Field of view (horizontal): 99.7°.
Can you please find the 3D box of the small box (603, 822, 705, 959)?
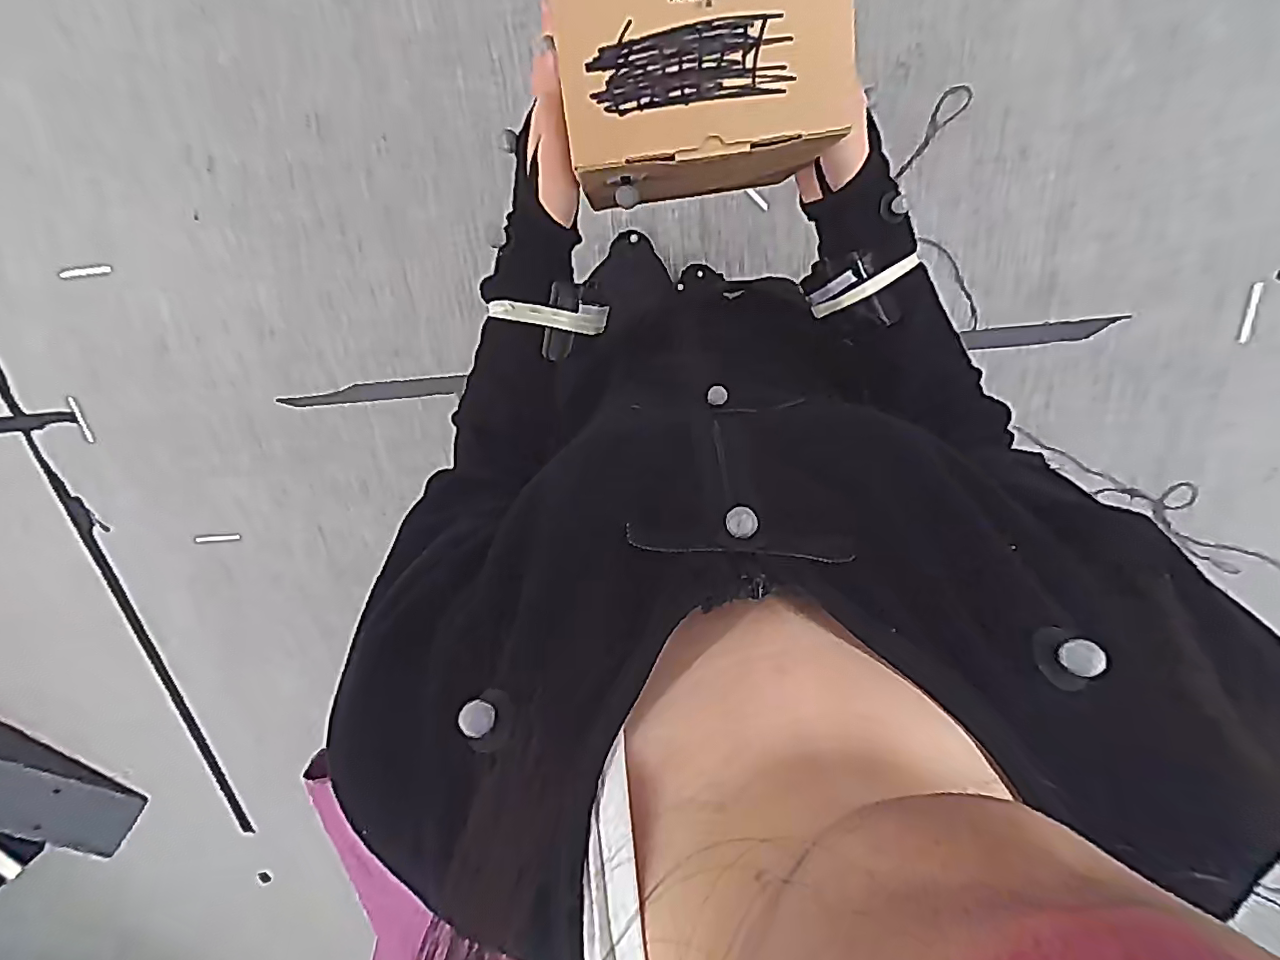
[{"bbox_3d":[0.031,0.750,0.964,0.168,0.176,0.179,-3,112,4],"label":"small box"}]
